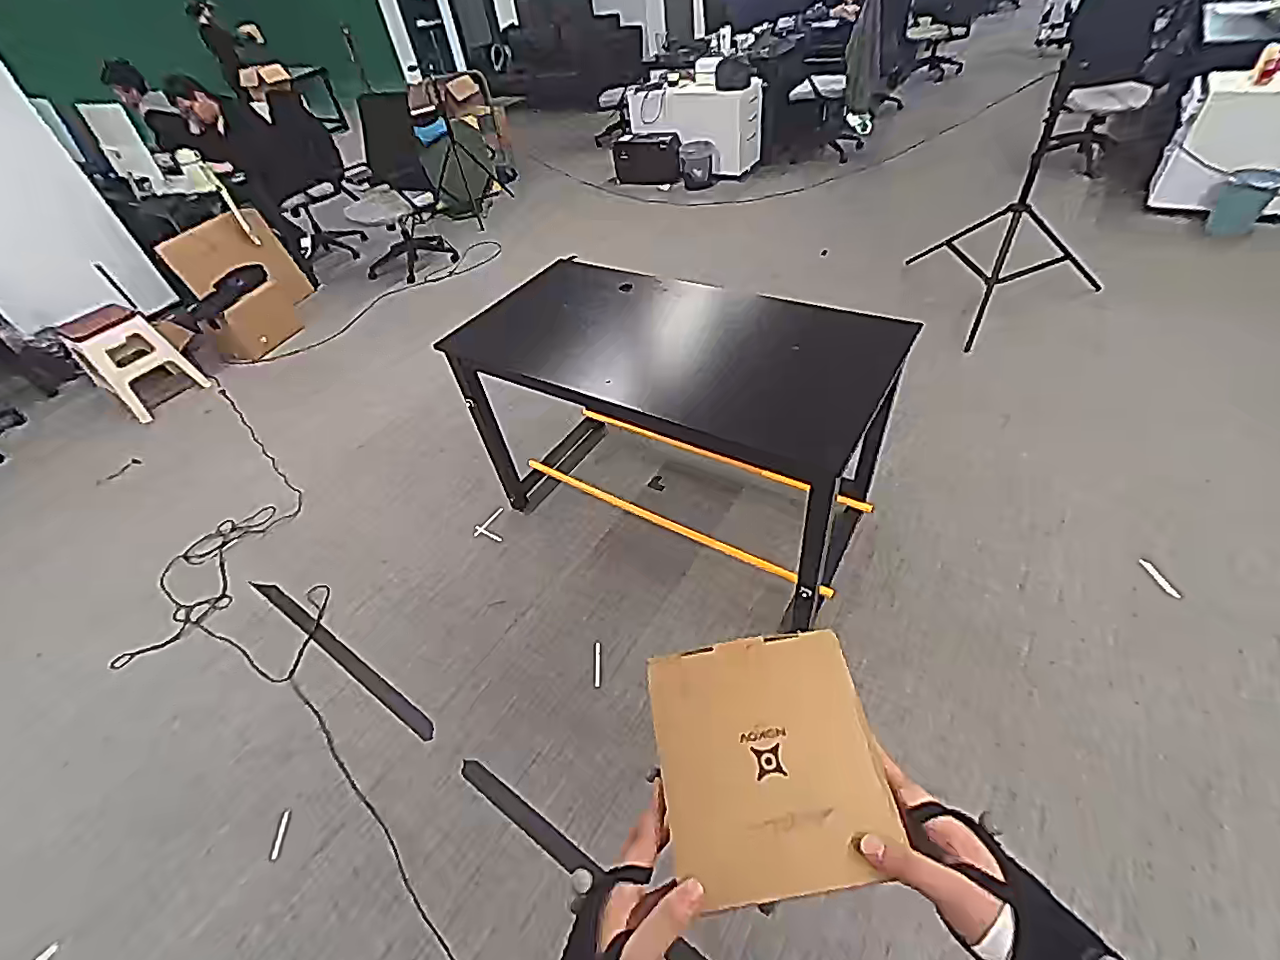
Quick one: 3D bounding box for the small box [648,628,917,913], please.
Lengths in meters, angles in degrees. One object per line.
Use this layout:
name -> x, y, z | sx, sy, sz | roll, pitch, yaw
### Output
small box -> 0.100, 0.251, 0.473 | 0.168, 0.176, 0.179 | -9, 56, -1
